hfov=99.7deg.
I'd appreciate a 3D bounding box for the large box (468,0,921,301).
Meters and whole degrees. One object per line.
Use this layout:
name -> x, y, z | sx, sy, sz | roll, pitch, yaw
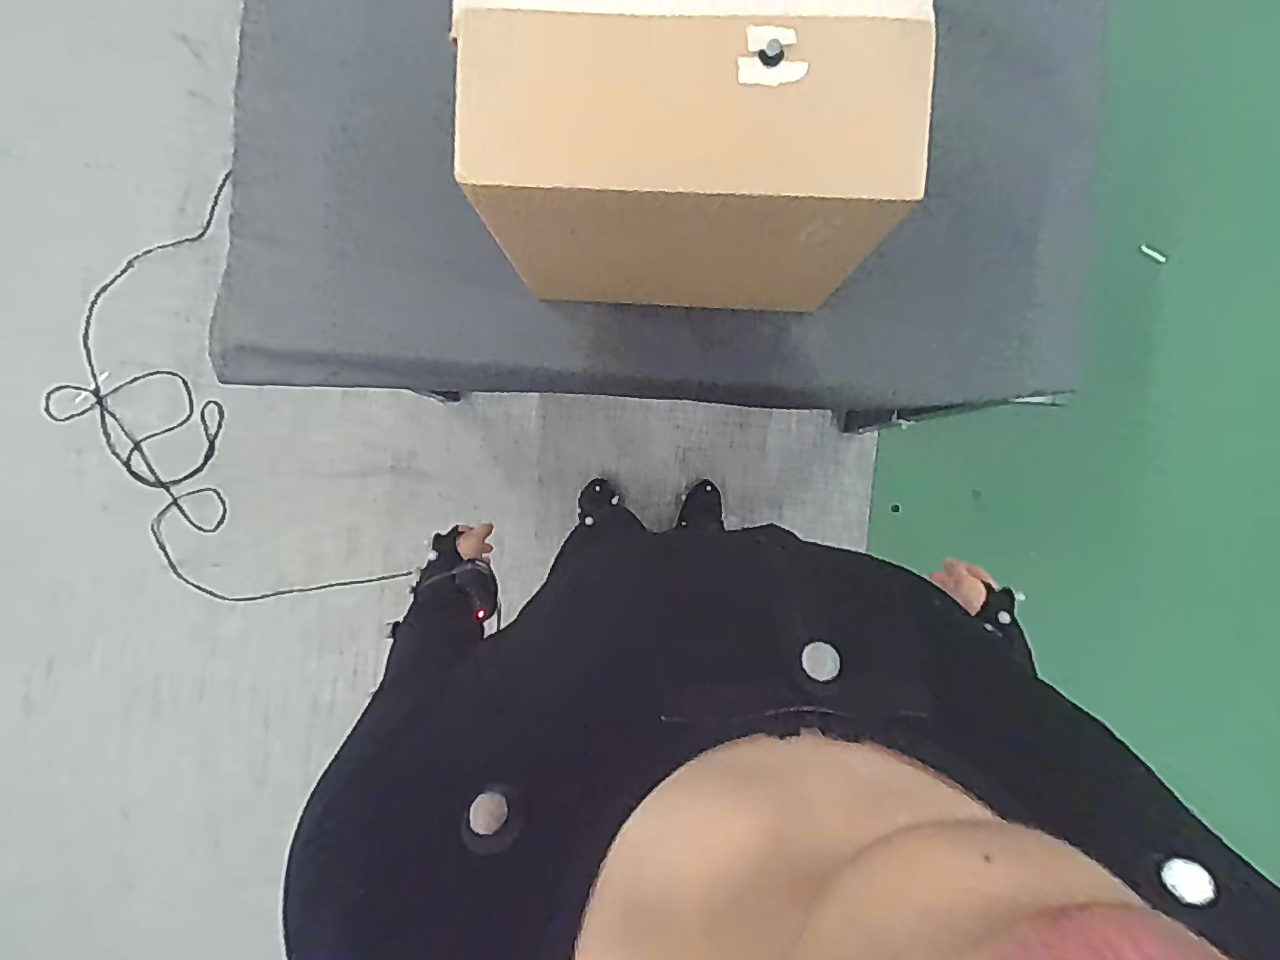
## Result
large box -> 0.048, -0.410, 0.625 | 0.408, 0.320, 0.320 | 2, 91, 1
